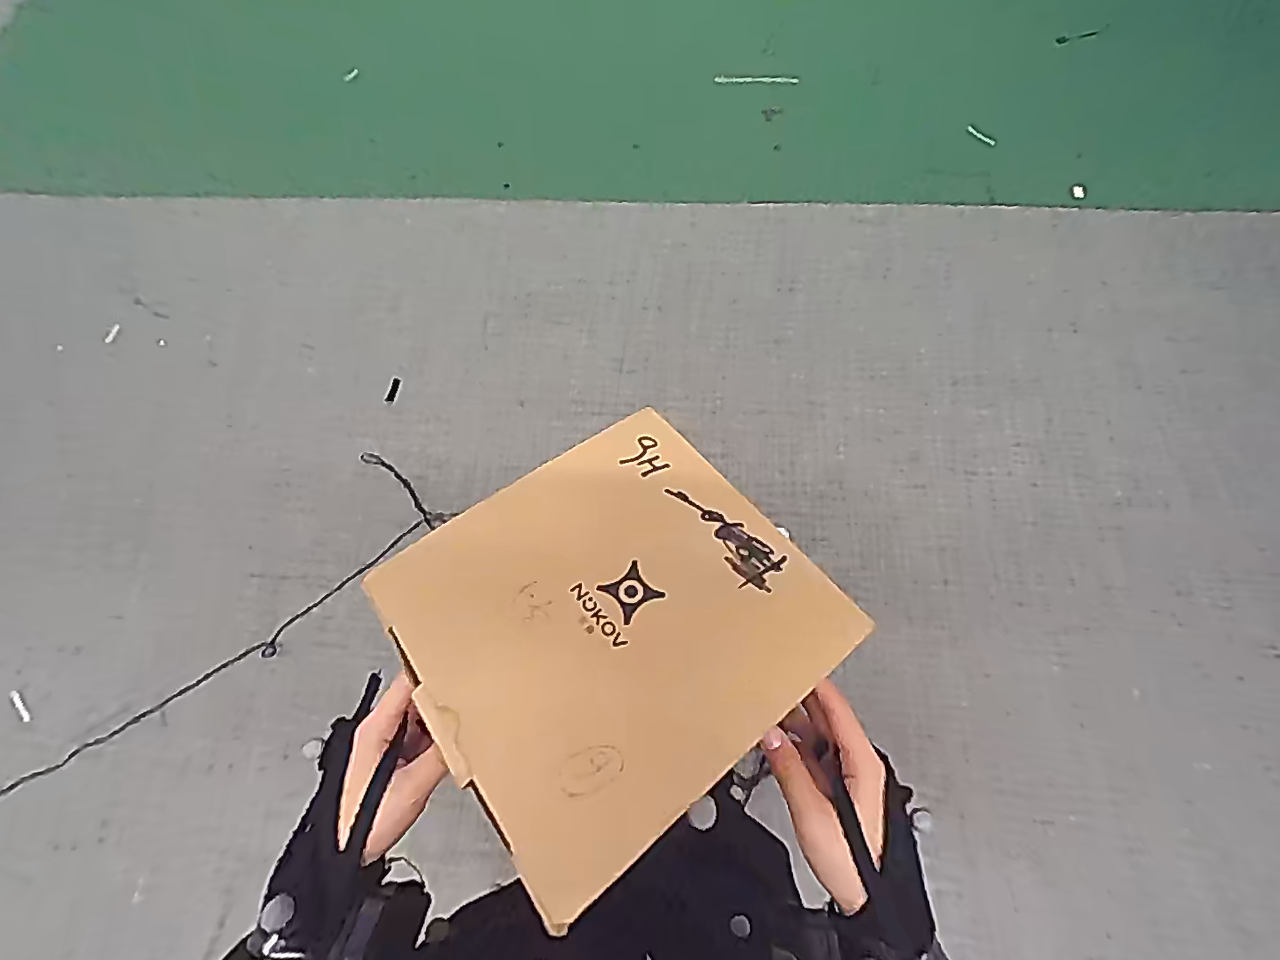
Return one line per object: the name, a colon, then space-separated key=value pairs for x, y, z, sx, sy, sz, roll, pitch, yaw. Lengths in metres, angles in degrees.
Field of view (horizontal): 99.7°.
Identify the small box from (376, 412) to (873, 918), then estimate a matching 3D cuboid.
small box: x=-0.010 y=0.101 z=0.314 sx=0.179 sy=0.176 sz=0.168 roll=-32 pitch=63 yaw=-21
